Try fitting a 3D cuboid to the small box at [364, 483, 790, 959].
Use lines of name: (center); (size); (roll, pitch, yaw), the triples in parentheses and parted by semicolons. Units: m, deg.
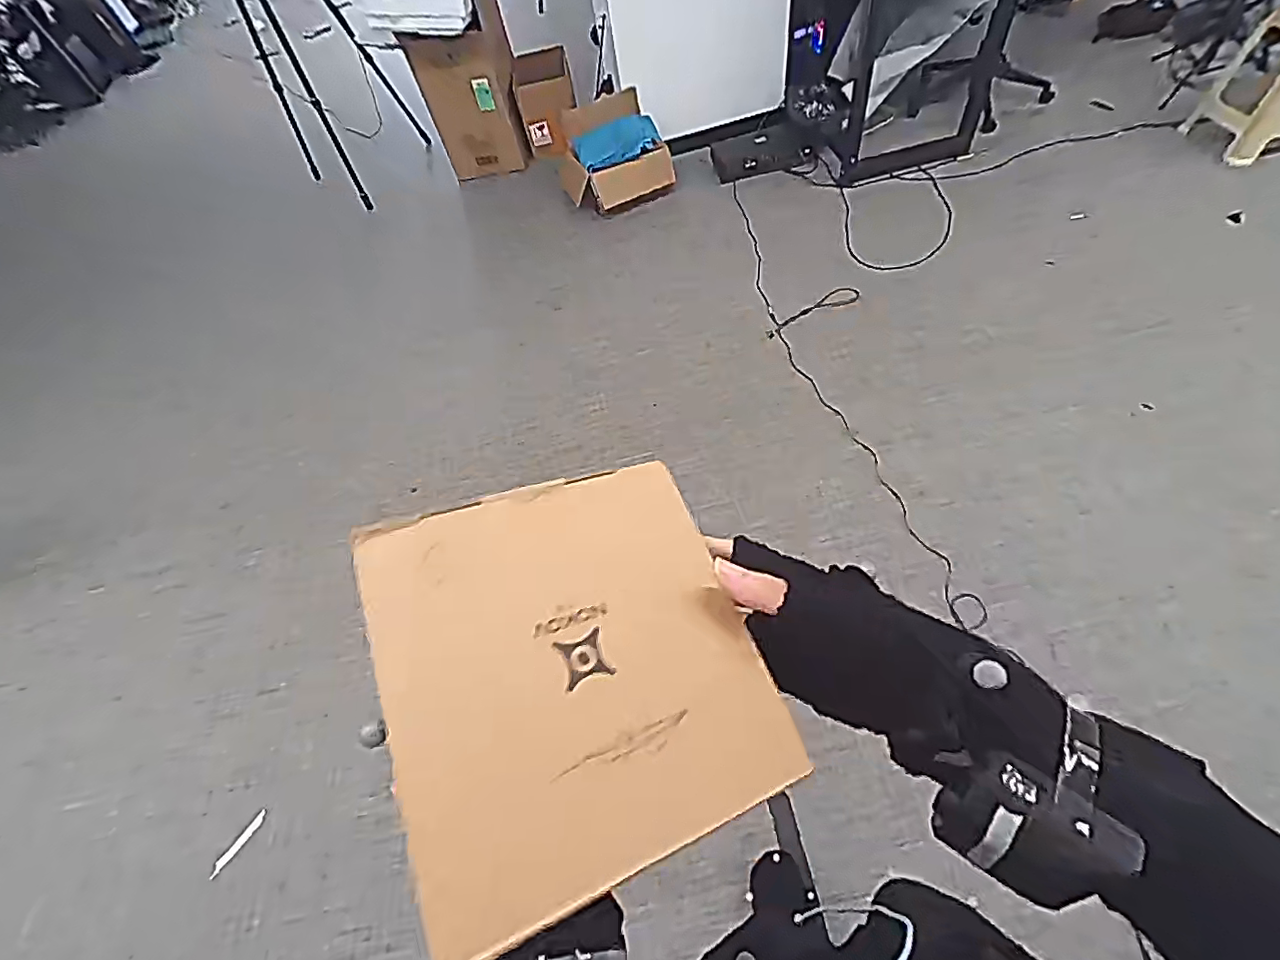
small box: (-0.051, 0.131, 0.326); (0.168, 0.176, 0.179); (-14, 64, -22)
